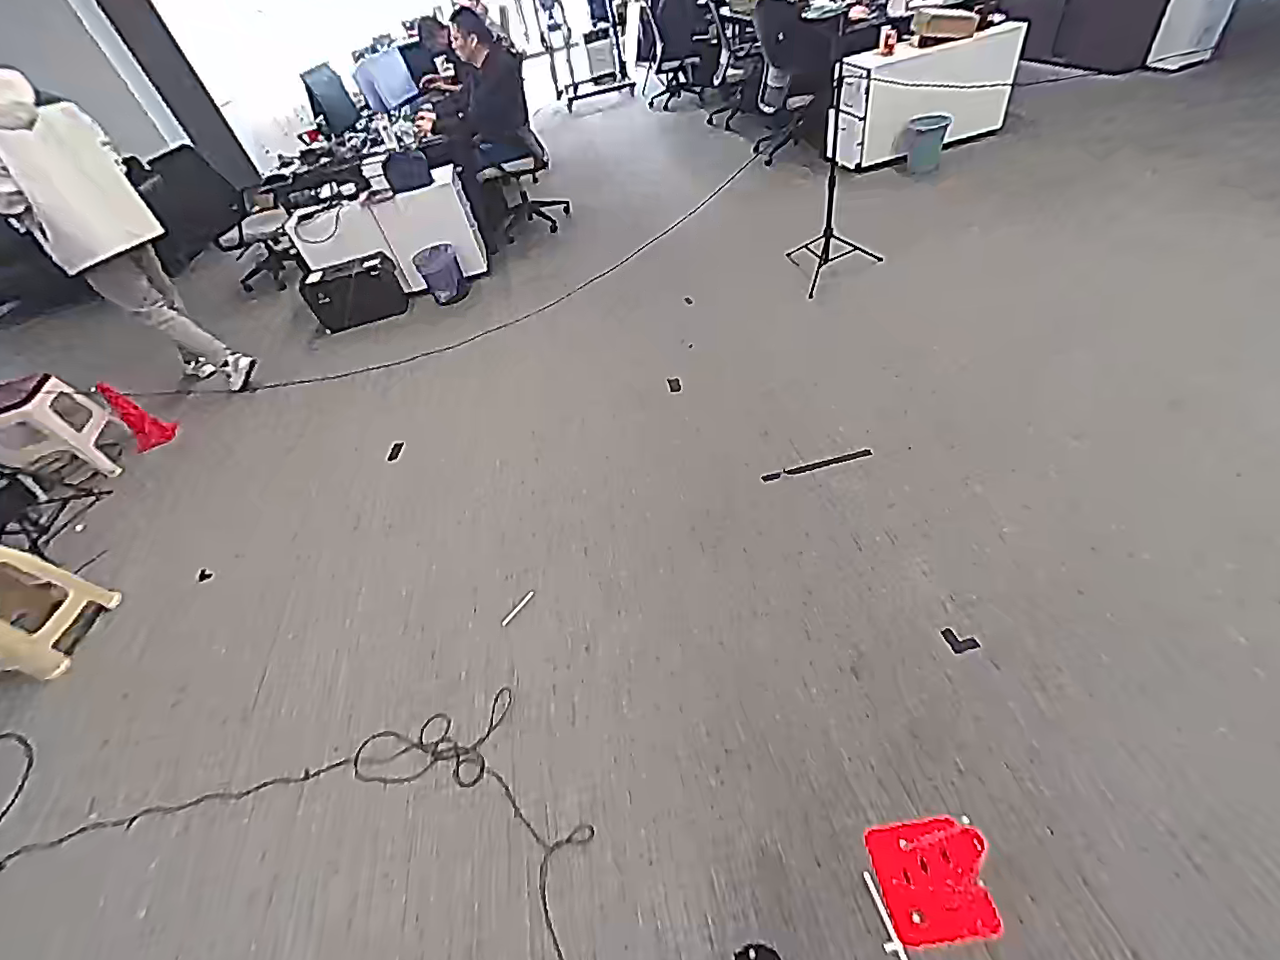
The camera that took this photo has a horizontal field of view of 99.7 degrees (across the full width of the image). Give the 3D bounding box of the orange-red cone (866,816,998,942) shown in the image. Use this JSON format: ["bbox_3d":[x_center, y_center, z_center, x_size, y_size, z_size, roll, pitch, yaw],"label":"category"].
[{"bbox_3d":[0.553,0.682,0.969,0.199,0.360,0.198,-10,45,3],"label":"orange-red cone"}]
